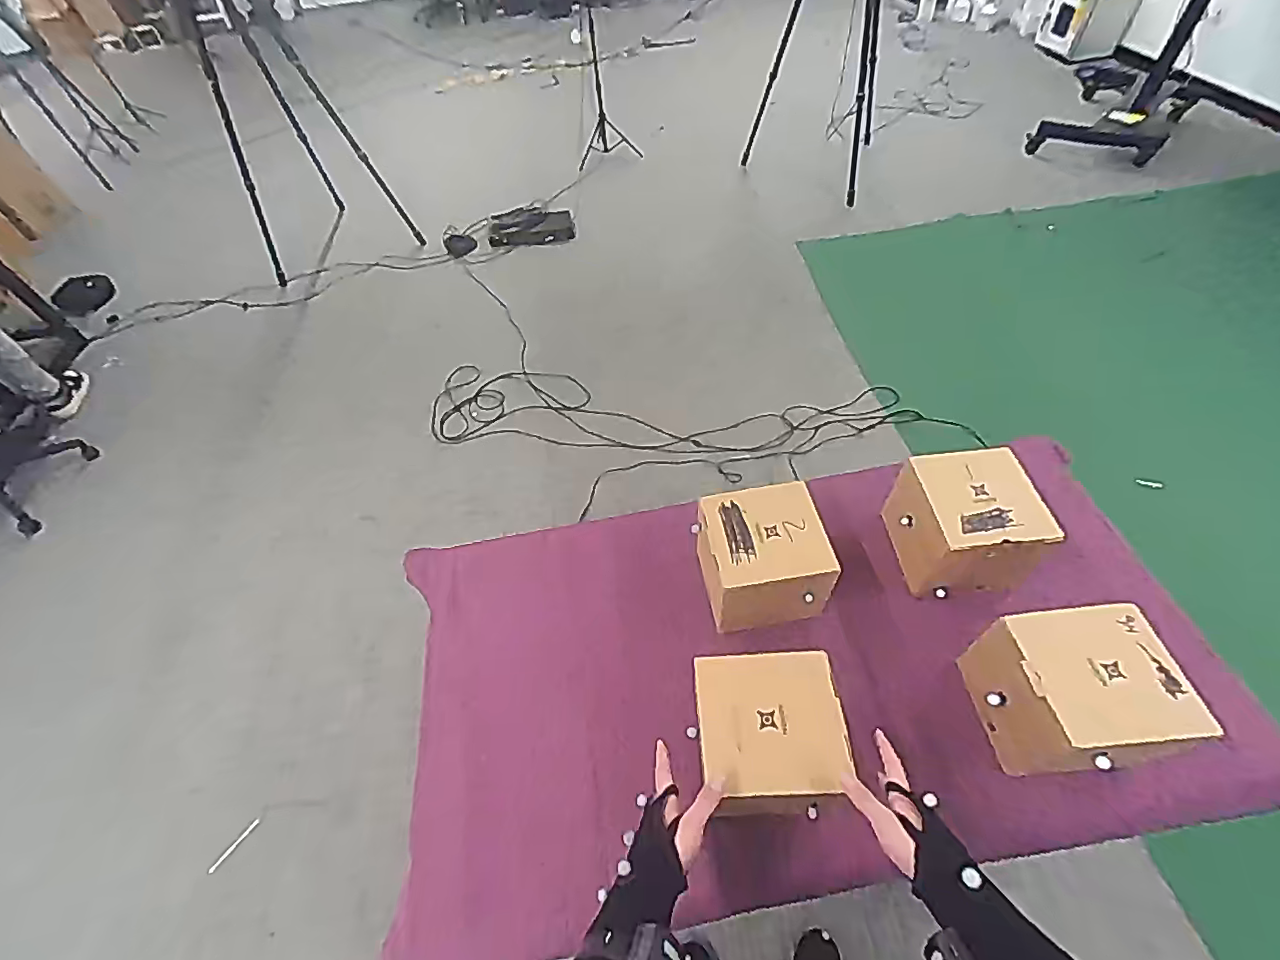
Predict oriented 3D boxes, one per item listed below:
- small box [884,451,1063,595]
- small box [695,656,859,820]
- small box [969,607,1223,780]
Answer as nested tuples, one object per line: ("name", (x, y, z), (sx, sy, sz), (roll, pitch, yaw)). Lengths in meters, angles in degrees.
("small box", (0.525, 0.078, 0.884), (0.168, 0.176, 0.179), (-5, 52, 2))
("small box", (0.165, 0.344, 0.717), (0.179, 0.176, 0.168), (-4, 51, 4))
("small box", (0.571, 0.288, 0.717), (0.179, 0.176, 0.168), (-6, 51, 2))
